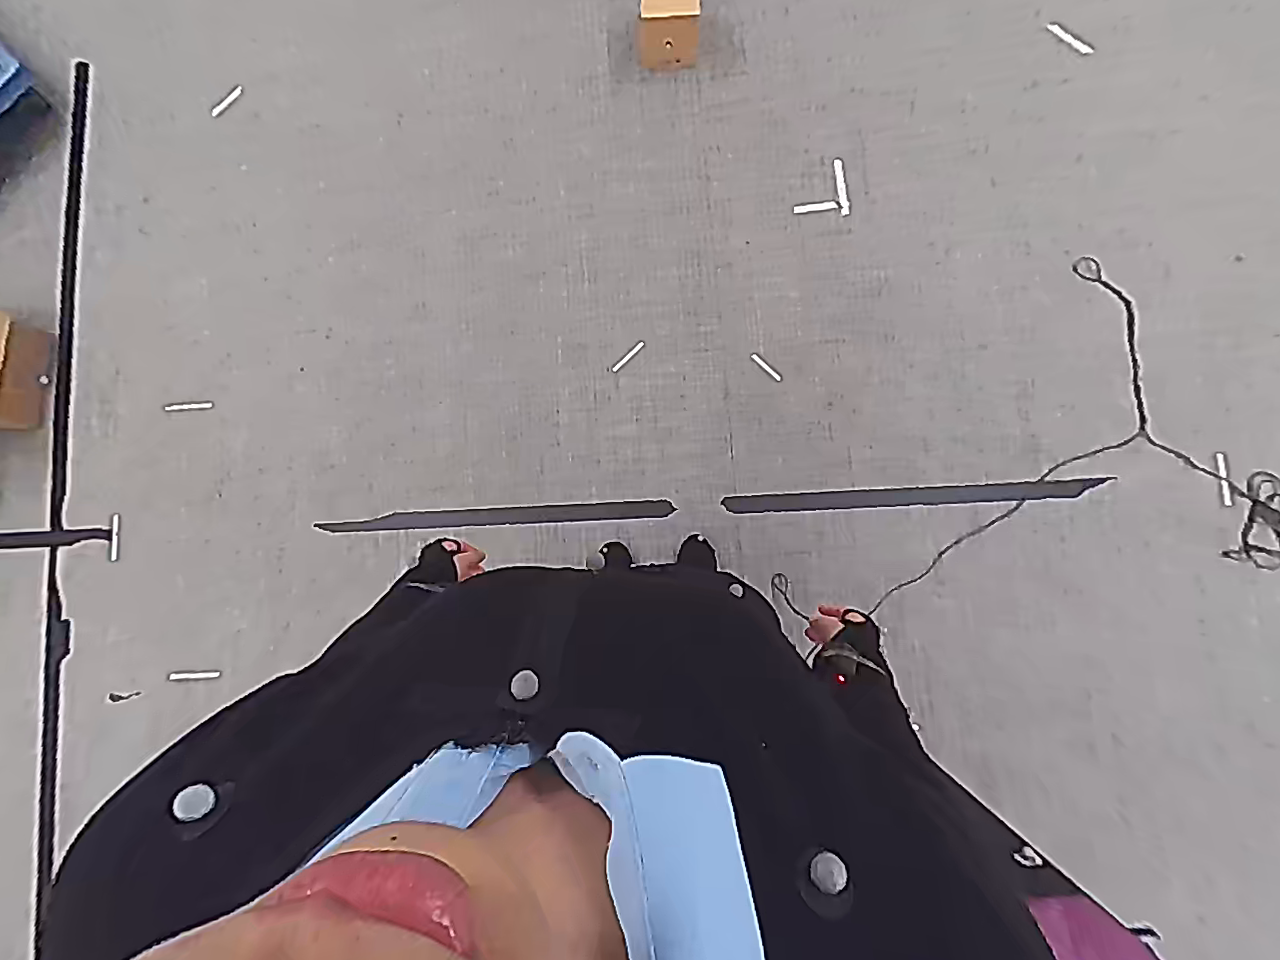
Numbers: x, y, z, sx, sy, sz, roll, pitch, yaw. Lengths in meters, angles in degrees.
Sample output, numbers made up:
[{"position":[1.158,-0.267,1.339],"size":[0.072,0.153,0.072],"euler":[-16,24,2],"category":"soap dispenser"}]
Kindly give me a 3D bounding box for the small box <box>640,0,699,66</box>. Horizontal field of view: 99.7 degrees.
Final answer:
[{"position":[0.089,-1.357,1.586],"size":[0.168,0.176,0.179],"euler":[0,84,4],"category":"small box"}]
